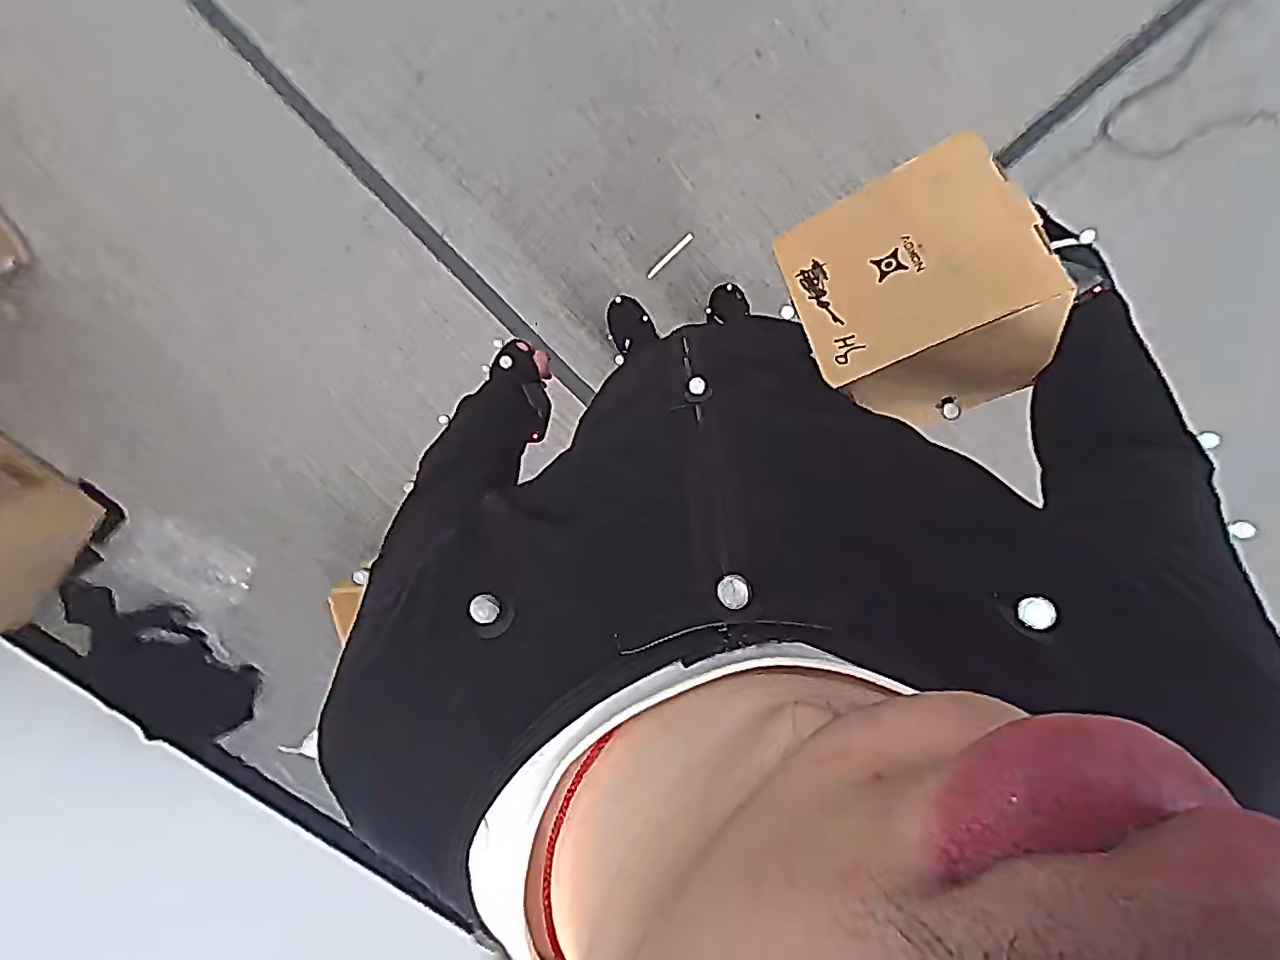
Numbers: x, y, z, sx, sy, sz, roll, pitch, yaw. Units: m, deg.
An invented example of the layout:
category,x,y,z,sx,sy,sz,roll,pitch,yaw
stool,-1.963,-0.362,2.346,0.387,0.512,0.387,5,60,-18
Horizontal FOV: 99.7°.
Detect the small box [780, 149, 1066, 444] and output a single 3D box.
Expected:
category,x,y,z,sx,sy,sz,roll,pitch,yaw
small box,0.260,-0.156,0.519,0.179,0.176,0.168,-22,65,24
